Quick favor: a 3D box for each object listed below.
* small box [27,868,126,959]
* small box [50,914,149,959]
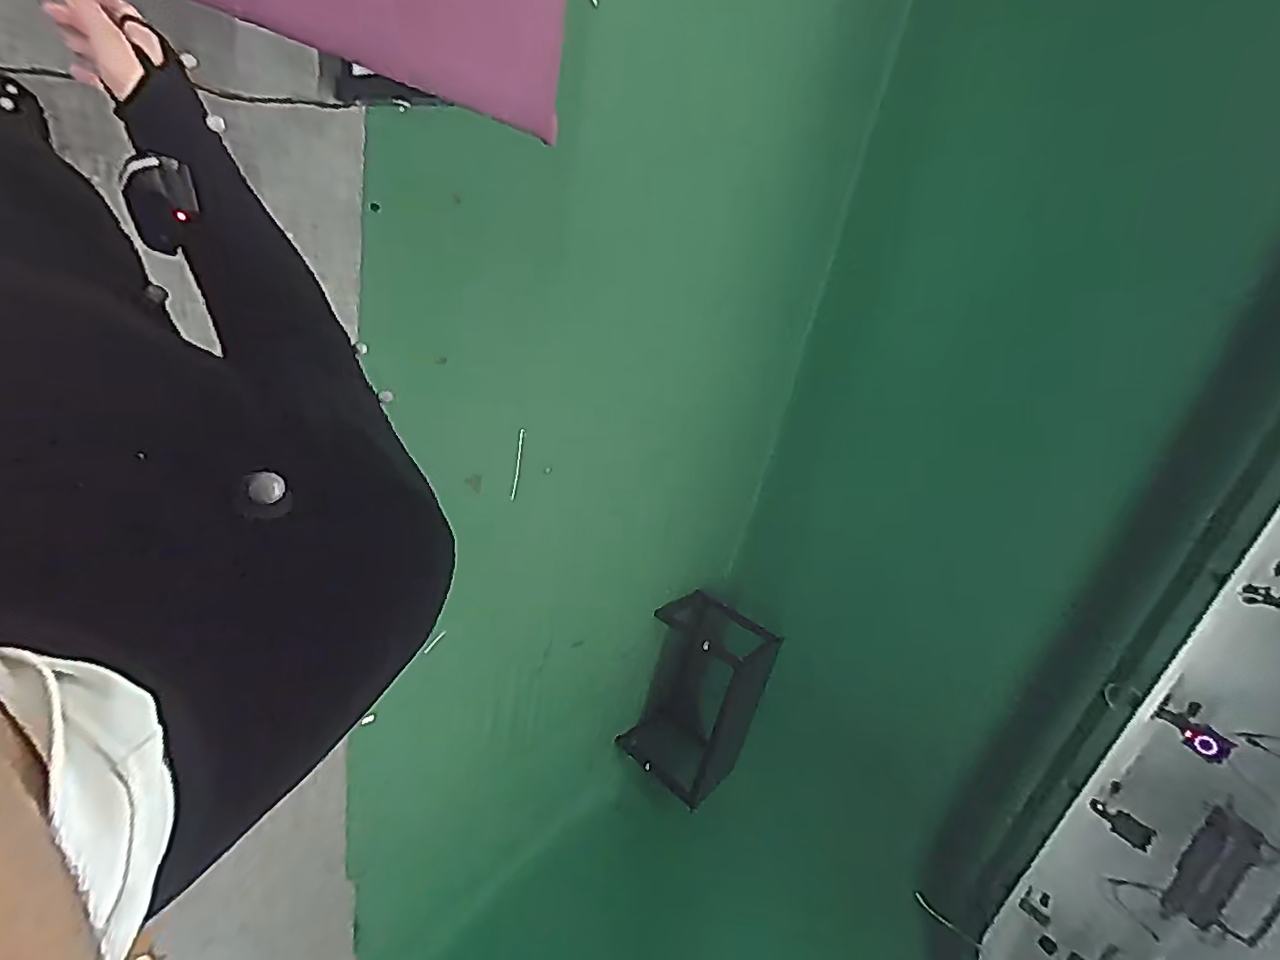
[{"bbox_3d":[-1.565,1.245,1.512,0.168,0.176,0.179,-20,128,-46],"label":"small box"},{"bbox_3d":[-1.432,1.318,1.441,0.168,0.176,0.179,-18,127,-46],"label":"small box"}]
